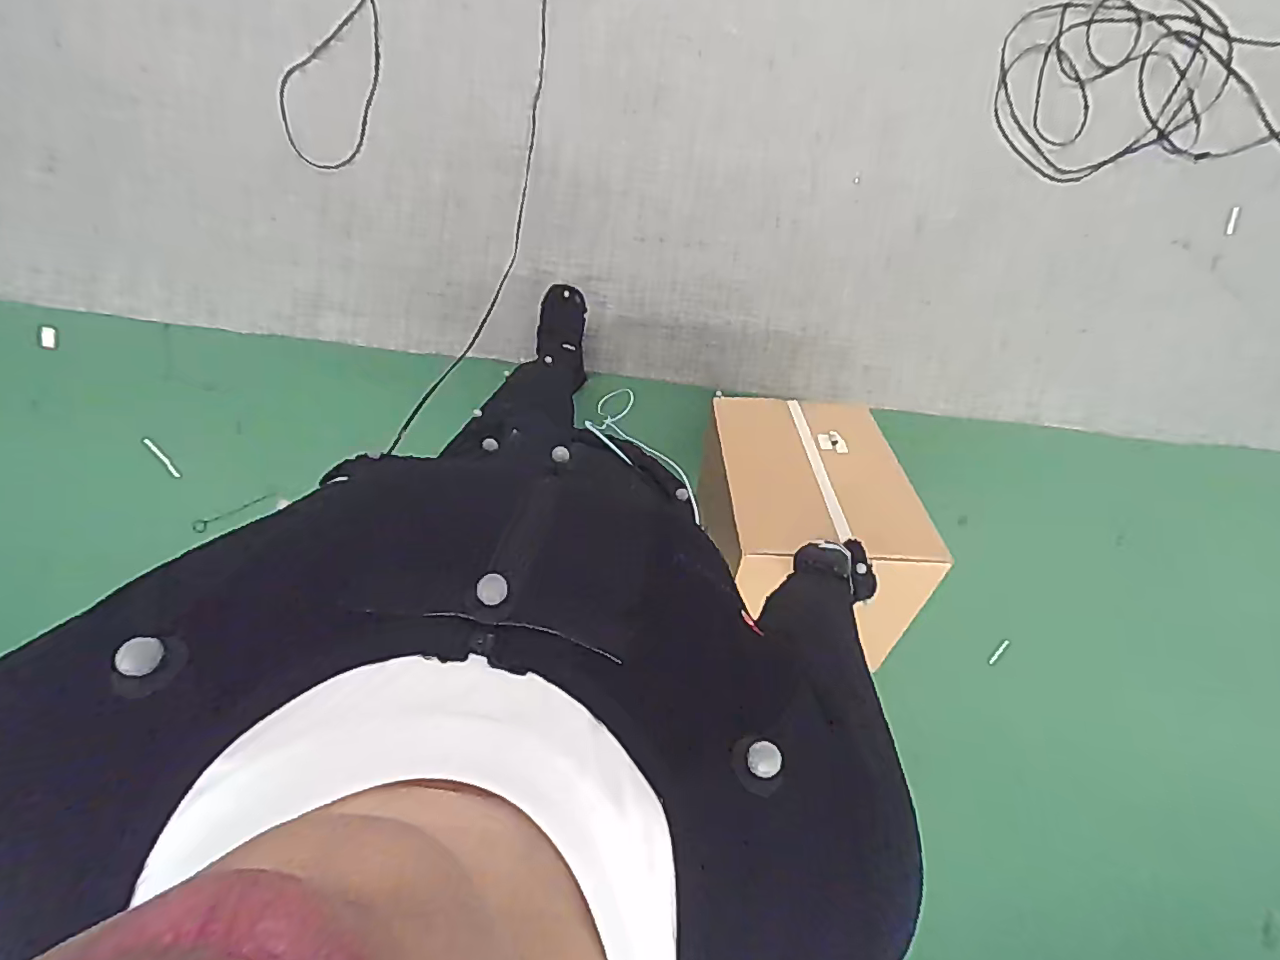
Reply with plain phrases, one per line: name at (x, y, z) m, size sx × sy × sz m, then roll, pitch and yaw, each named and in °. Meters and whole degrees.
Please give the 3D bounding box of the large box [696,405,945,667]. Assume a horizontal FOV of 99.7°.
large box at (0.291, 0.101, 1.035) m, size 0.320 × 0.408 × 0.320 m, roll 3°, pitch 131°, yaw -3°
